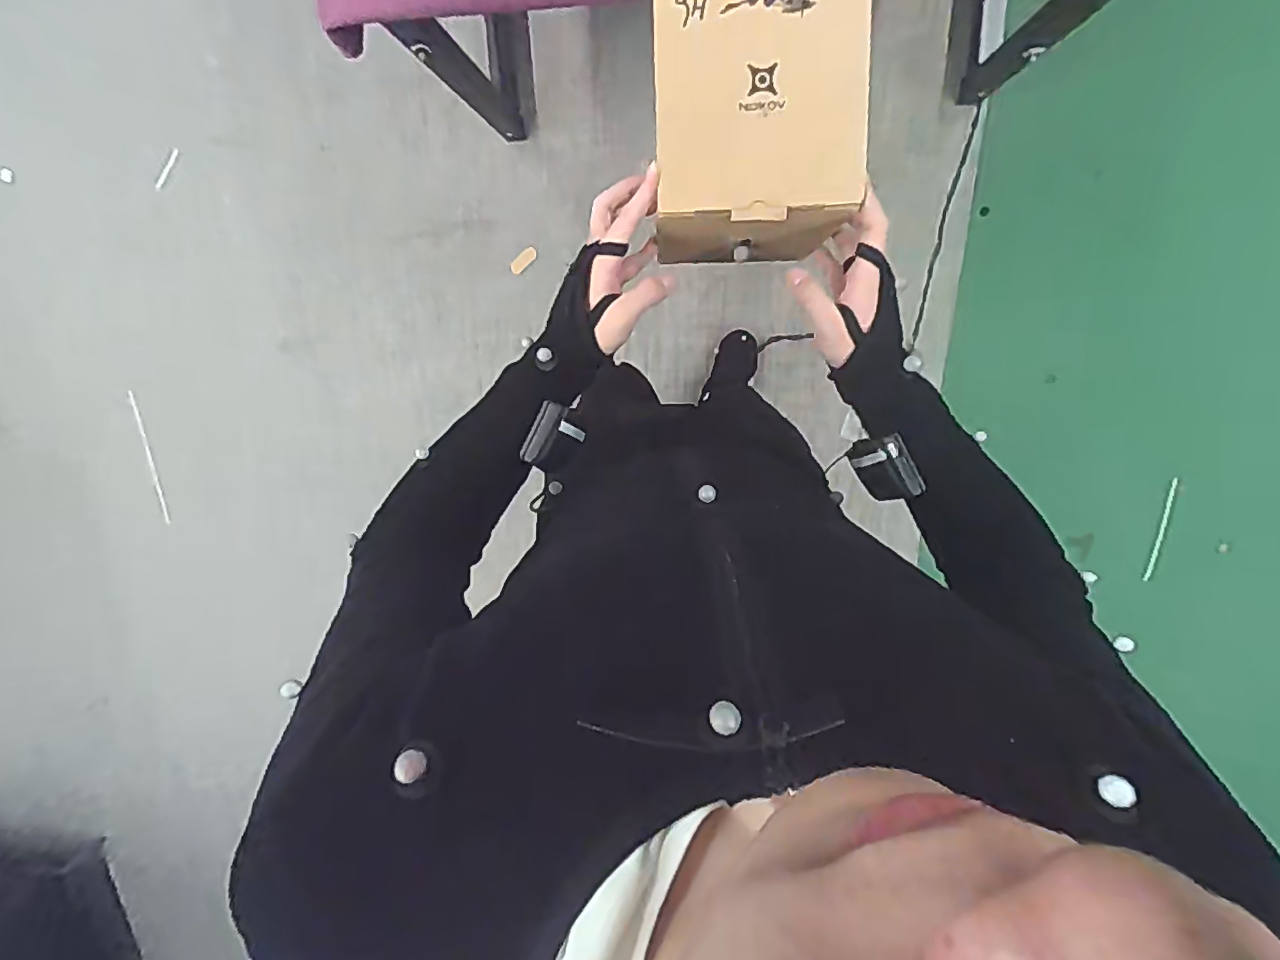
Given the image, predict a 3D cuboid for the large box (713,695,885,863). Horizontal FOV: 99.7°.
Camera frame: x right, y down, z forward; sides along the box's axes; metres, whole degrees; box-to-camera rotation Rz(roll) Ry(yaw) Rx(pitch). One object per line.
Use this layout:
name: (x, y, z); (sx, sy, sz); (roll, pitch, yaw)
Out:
large box: (0.486, 0.977, 1.739); (0.408, 0.320, 0.320); (-32, 102, 13)

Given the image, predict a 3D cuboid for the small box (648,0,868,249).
small box: (0.093, -0.318, 0.494); (0.168, 0.176, 0.179); (-1, 100, 2)
